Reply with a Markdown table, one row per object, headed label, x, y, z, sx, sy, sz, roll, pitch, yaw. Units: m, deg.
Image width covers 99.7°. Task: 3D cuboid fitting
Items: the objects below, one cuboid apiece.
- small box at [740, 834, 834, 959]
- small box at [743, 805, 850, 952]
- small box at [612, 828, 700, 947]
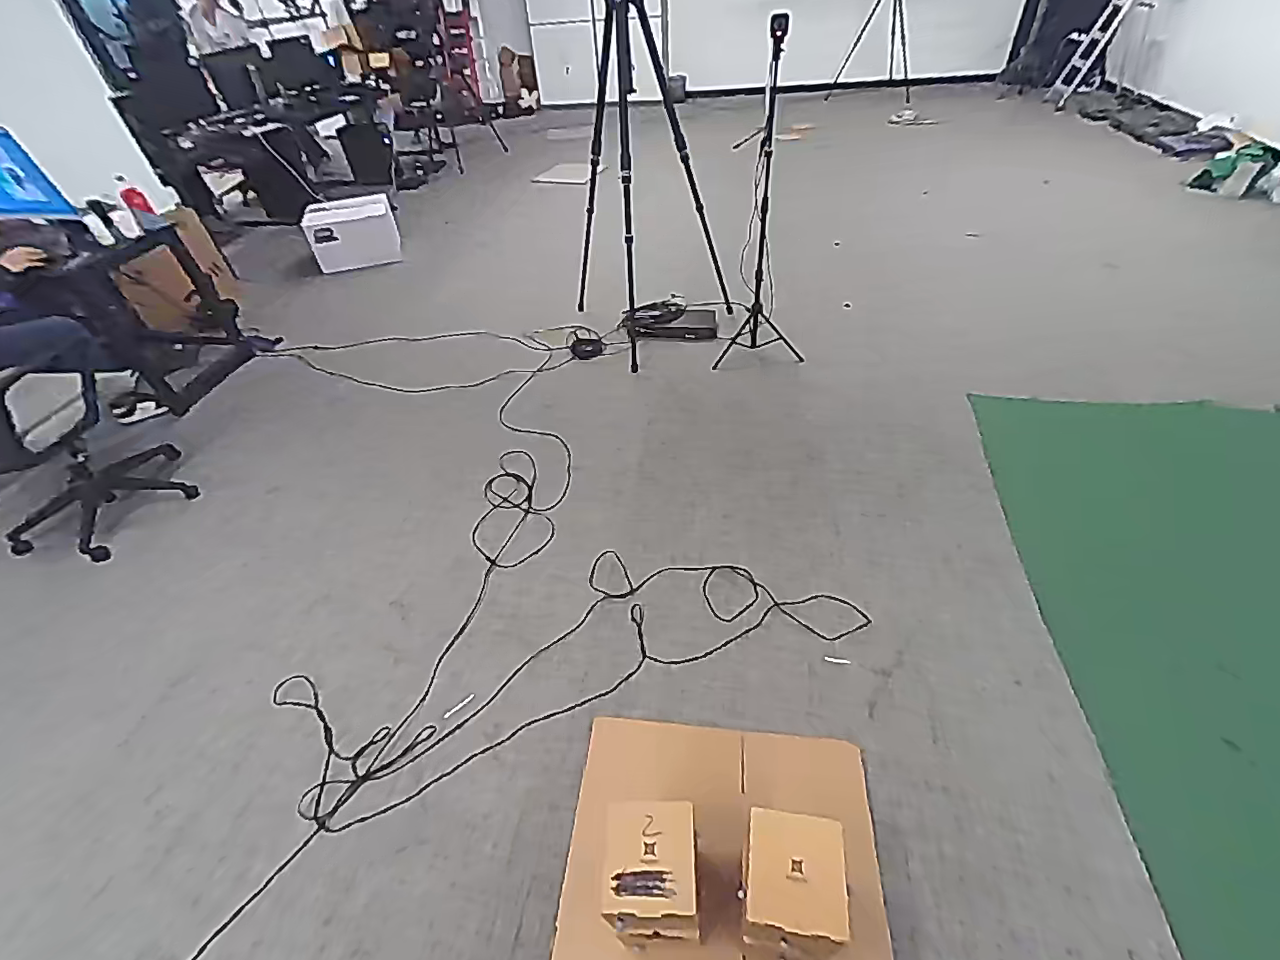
| label | x | y | z | sx | sy | sz | roll | pitch | yaw |
| --- | --- | --- | --- | --- | --- | --- | --- | --- | --- |
| small box | 0.290 | 0.854 | 1.102 | 0.168 | 0.176 | 0.179 | 0 | 45 | 10 |
| small box | 0.278 | 0.733 | 0.994 | 0.168 | 0.176 | 0.179 | 3 | 45 | 11 |
| small box | 0.040 | 0.853 | 1.129 | 0.168 | 0.176 | 0.179 | -2 | 44 | 5 |
